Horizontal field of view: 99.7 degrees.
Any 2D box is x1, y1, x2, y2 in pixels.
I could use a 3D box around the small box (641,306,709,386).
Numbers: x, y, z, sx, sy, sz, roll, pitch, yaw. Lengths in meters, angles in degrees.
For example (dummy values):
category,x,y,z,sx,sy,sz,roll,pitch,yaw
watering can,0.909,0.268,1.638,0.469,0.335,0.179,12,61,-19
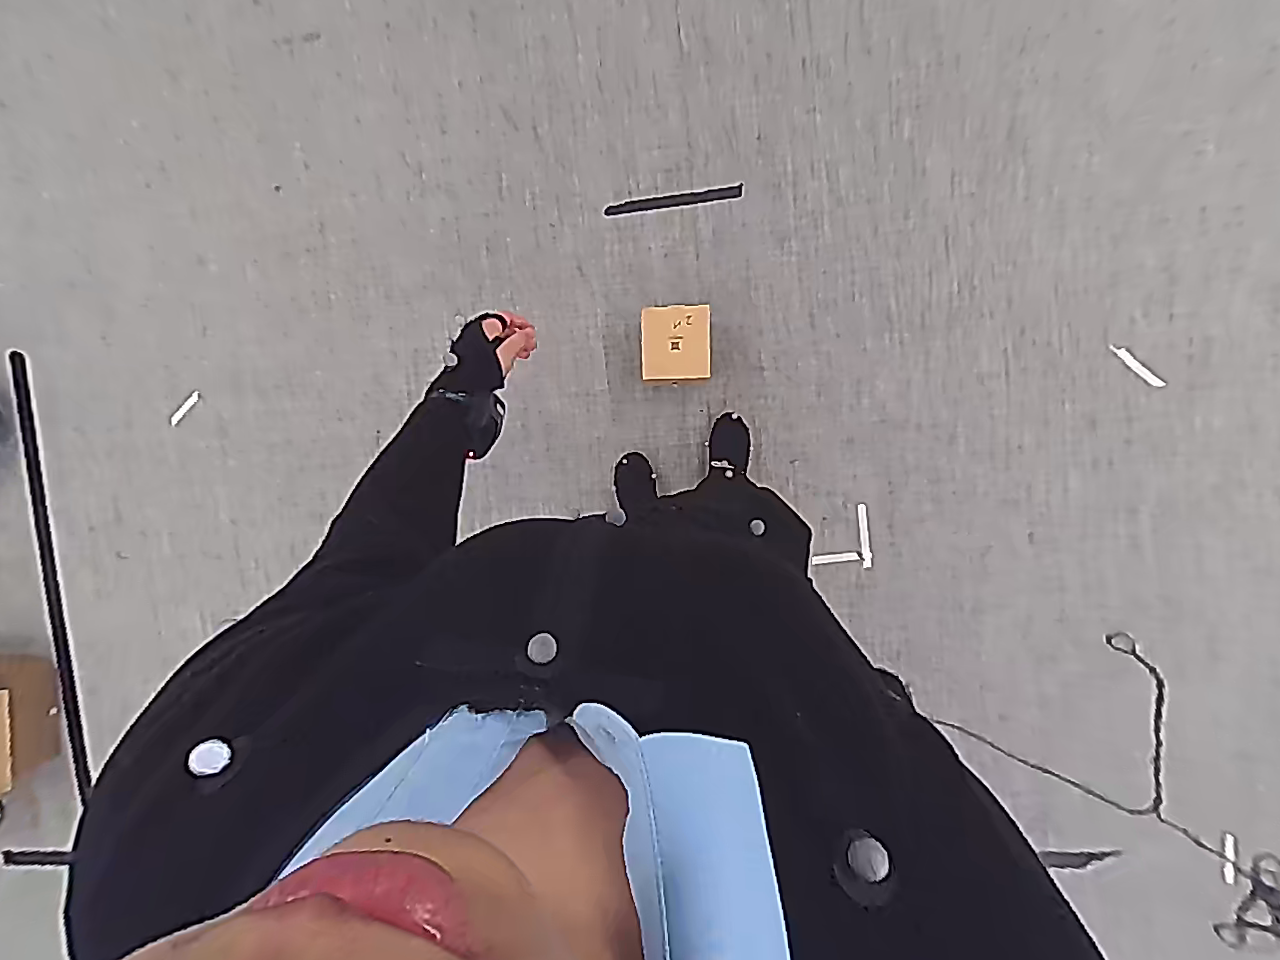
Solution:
category,x,y,z,sx,sy,sz,roll,pitch,yaw
small box,0.091,-0.332,1.372,0.168,0.176,0.179,-1,94,4
